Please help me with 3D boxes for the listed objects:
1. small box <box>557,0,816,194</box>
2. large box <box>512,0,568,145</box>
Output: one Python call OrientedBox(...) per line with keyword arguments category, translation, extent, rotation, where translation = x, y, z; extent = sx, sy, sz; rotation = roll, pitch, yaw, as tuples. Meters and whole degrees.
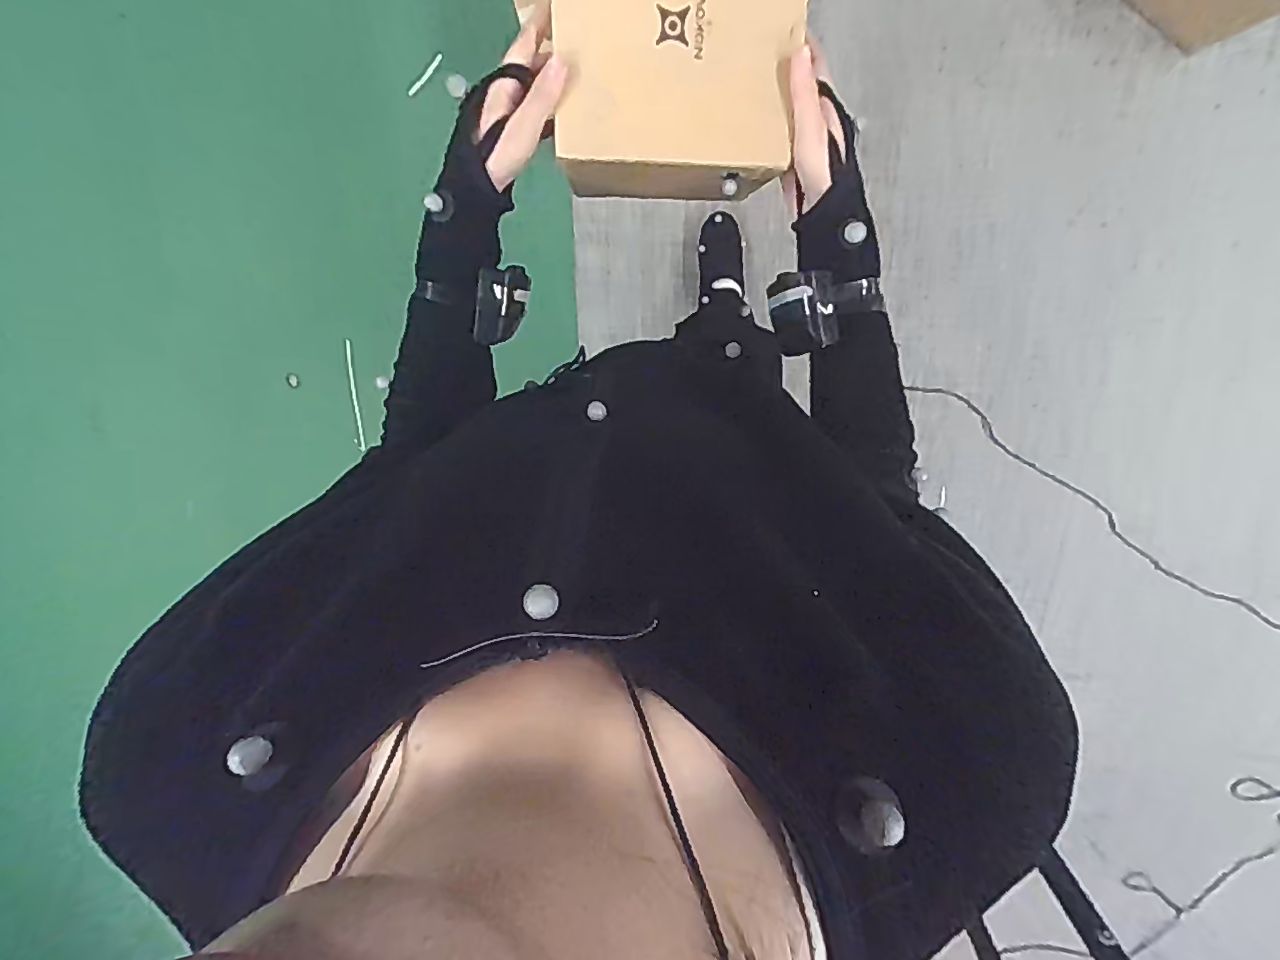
OrientedBox(category="small box", translation=(0.027, -0.339, 0.436), extent=(0.179, 0.176, 0.168), rotation=(-1, 108, -5))
OrientedBox(category="large box", translation=(-0.011, -0.907, 1.079), extent=(0.408, 0.320, 0.320), rotation=(-12, 106, 9))
